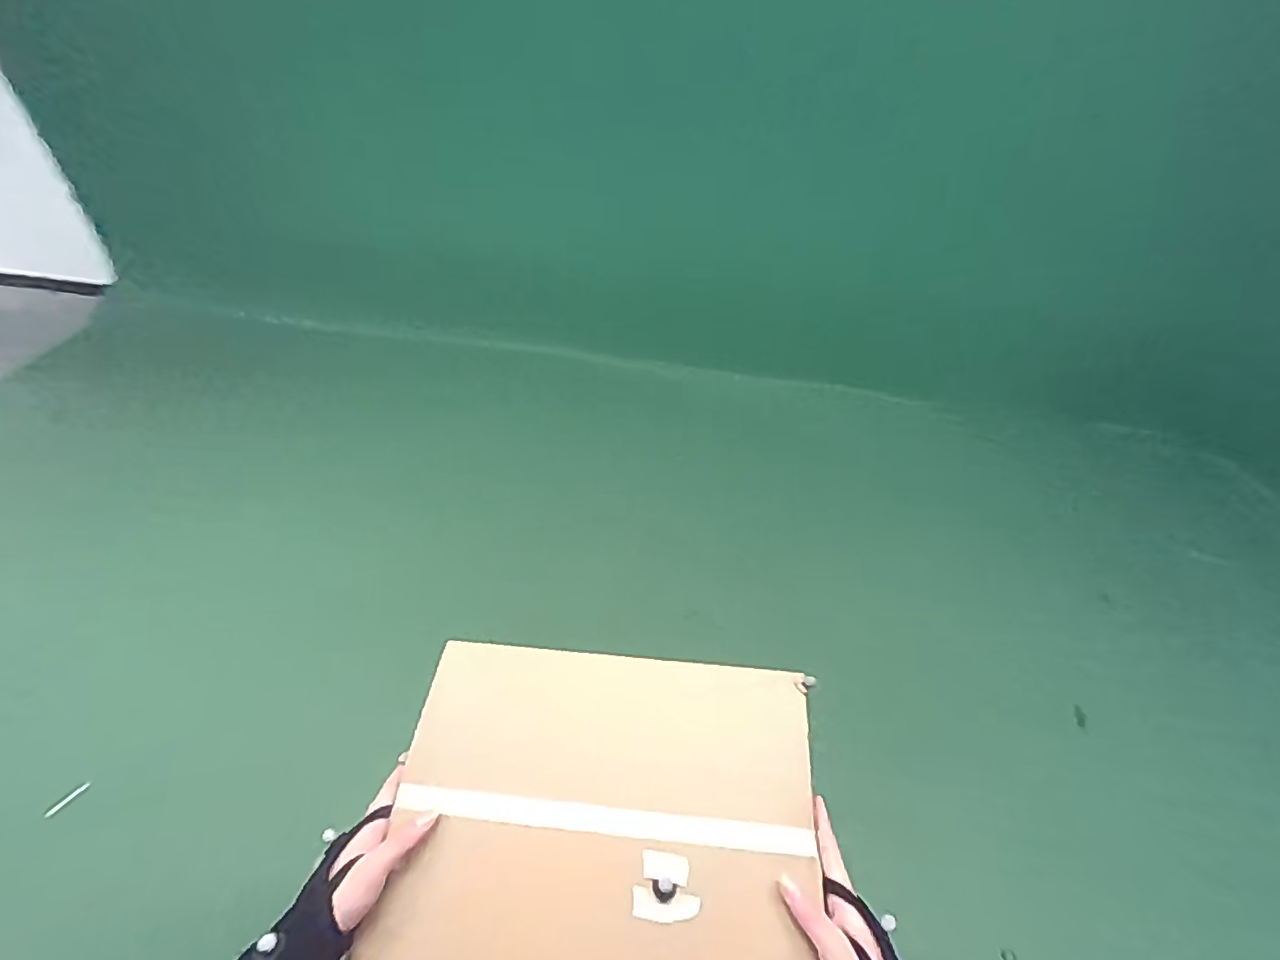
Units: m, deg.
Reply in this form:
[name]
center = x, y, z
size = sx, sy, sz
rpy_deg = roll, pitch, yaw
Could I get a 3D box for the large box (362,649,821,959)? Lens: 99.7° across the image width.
[large box]
center = -0.031, 0.420, 0.647
size = 0.408, 0.320, 0.320
rpy_deg = 4, 54, 5
